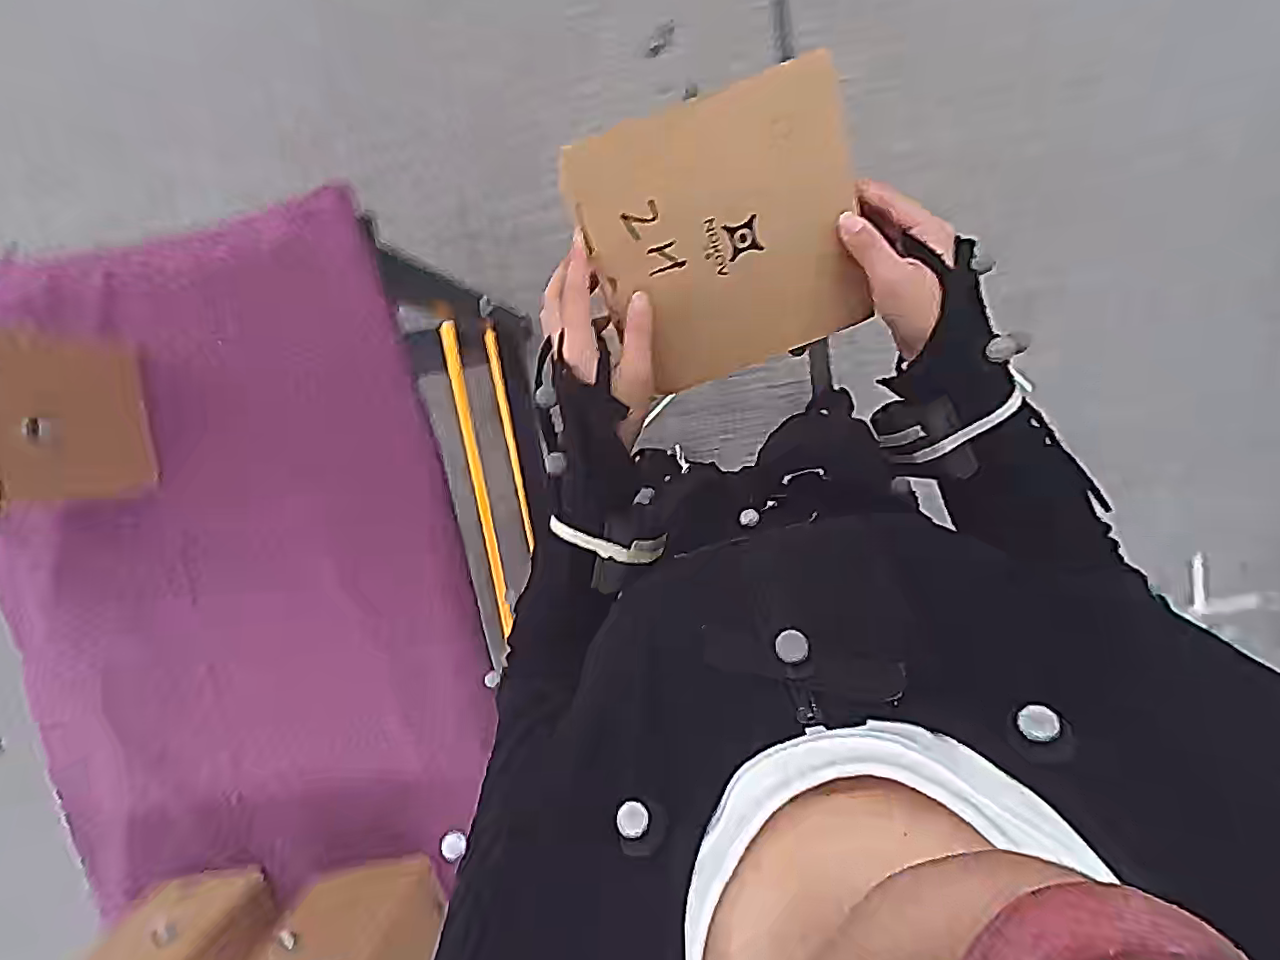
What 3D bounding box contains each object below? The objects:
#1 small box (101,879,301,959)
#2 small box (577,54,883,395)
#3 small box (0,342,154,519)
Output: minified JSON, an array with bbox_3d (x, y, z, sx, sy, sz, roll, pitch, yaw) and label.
[{"bbox_3d":[-0.585,0.658,0.700,0.168,0.176,0.179,-13,98,5],"label":"small box"},{"bbox_3d":[0.058,-0.188,0.426,0.179,0.176,0.168,-19,113,1],"label":"small box"},{"bbox_3d":[-0.692,-0.055,0.595,0.168,0.176,0.179,-4,97,2],"label":"small box"}]
